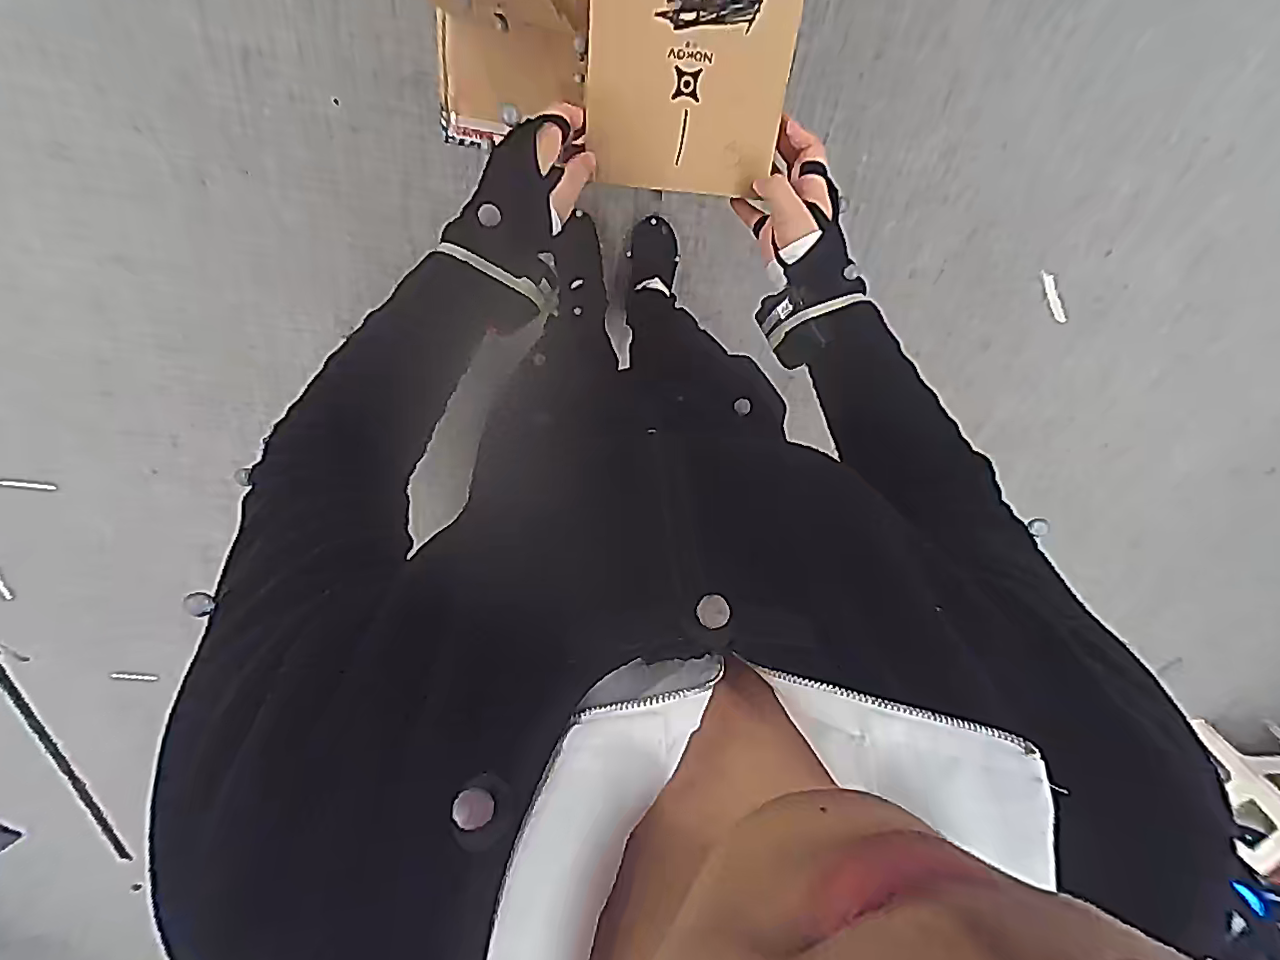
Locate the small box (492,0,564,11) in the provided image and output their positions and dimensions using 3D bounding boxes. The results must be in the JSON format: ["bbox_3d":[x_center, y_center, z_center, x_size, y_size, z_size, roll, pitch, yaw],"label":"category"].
[{"bbox_3d":[-0.146,-0.520,0.444,0.168,0.176,0.179,7,123,-4],"label":"small box"}]

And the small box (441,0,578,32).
[{"bbox_3d":[-0.152,-0.616,0.579,0.168,0.176,0.179,5,122,-3],"label":"small box"}]

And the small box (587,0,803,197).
[{"bbox_3d":[0.036,-0.377,0.507,0.168,0.176,0.179,2,122,-5],"label":"small box"}]
